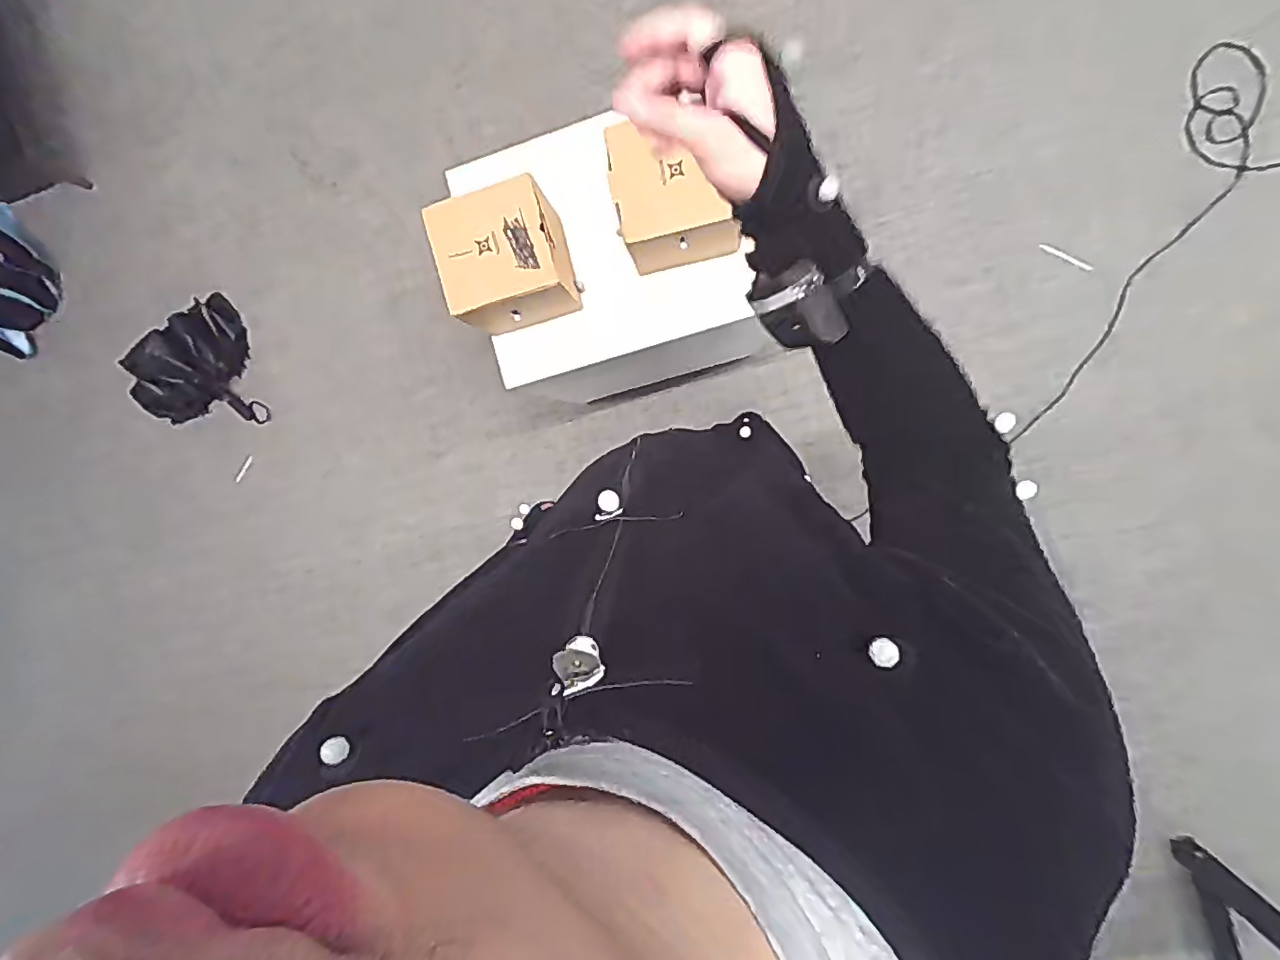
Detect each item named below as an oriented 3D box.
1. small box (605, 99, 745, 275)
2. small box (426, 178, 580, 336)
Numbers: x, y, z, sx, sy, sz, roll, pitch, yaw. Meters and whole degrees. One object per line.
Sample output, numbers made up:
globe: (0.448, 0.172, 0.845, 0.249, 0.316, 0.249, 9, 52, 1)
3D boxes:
small box: (0.059, -0.434, 0.834, 0.179, 0.176, 0.168, -11, 95, 8)
small box: (-0.206, -0.346, 0.874, 0.179, 0.176, 0.168, -14, 92, 9)
